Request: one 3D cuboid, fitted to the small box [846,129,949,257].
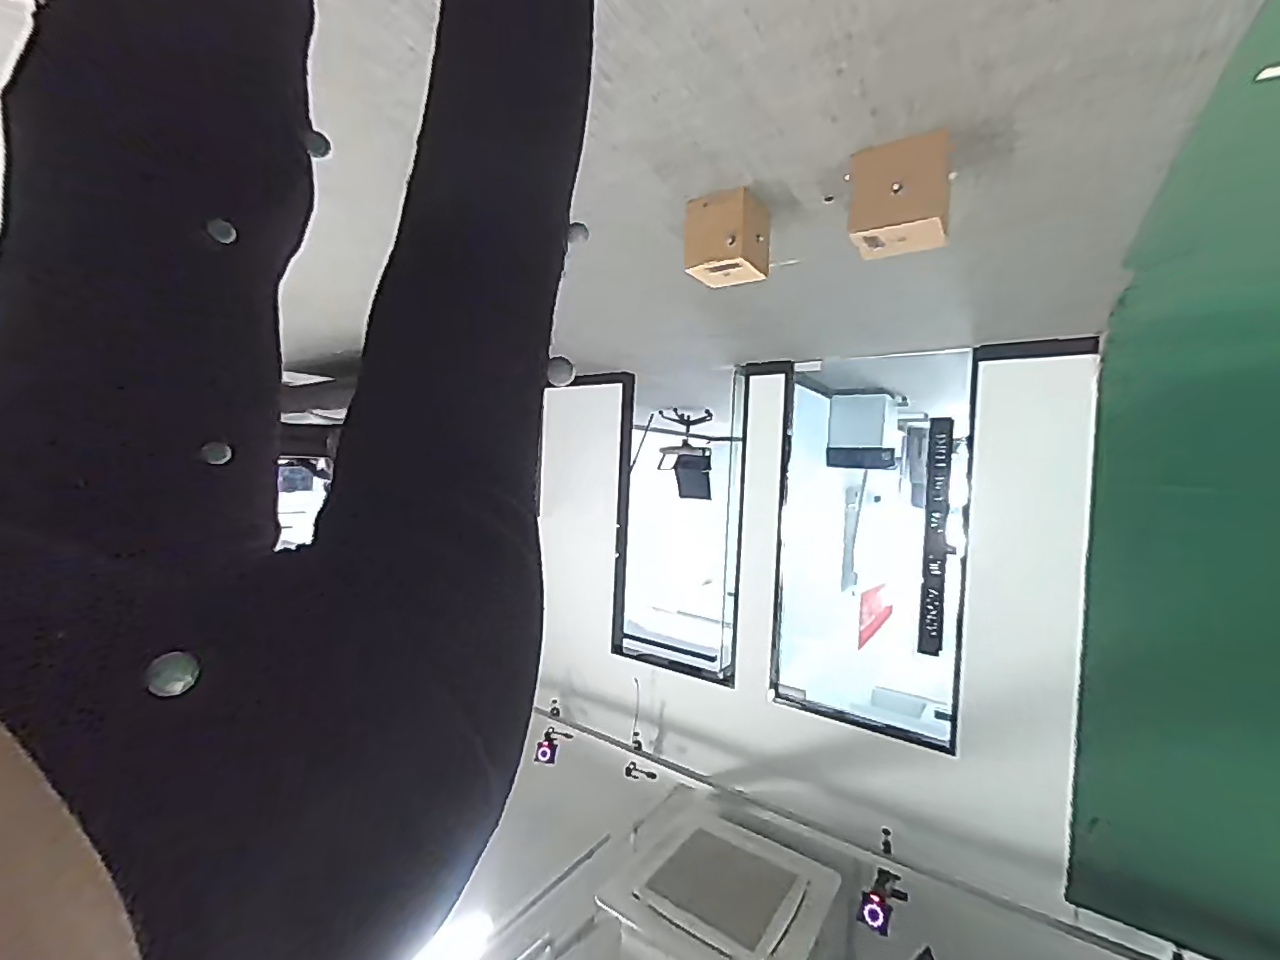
[{"bbox_3d":[0.550,-0.600,1.150,0.179,0.176,0.168,2,-178,33],"label":"small box"}]
